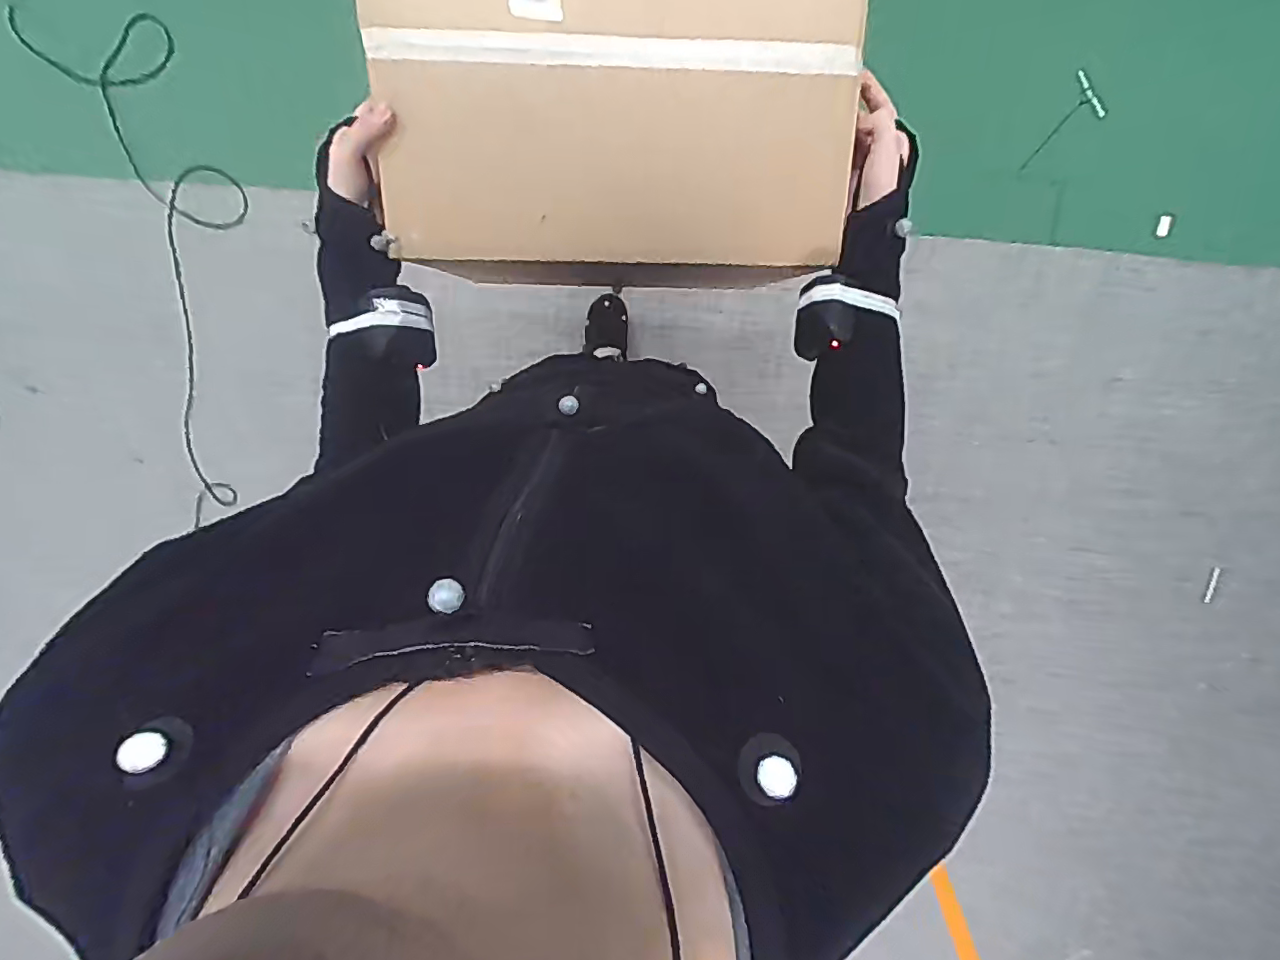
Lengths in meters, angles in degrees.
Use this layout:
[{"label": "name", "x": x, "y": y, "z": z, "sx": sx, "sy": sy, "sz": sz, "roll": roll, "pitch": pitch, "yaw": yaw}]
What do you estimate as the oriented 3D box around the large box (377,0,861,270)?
[{"label": "large box", "x": -0.020, "y": -0.403, "z": 0.593, "sx": 0.408, "sy": 0.320, "sz": 0.320, "roll": 0, "pitch": 106, "yaw": -3}]
